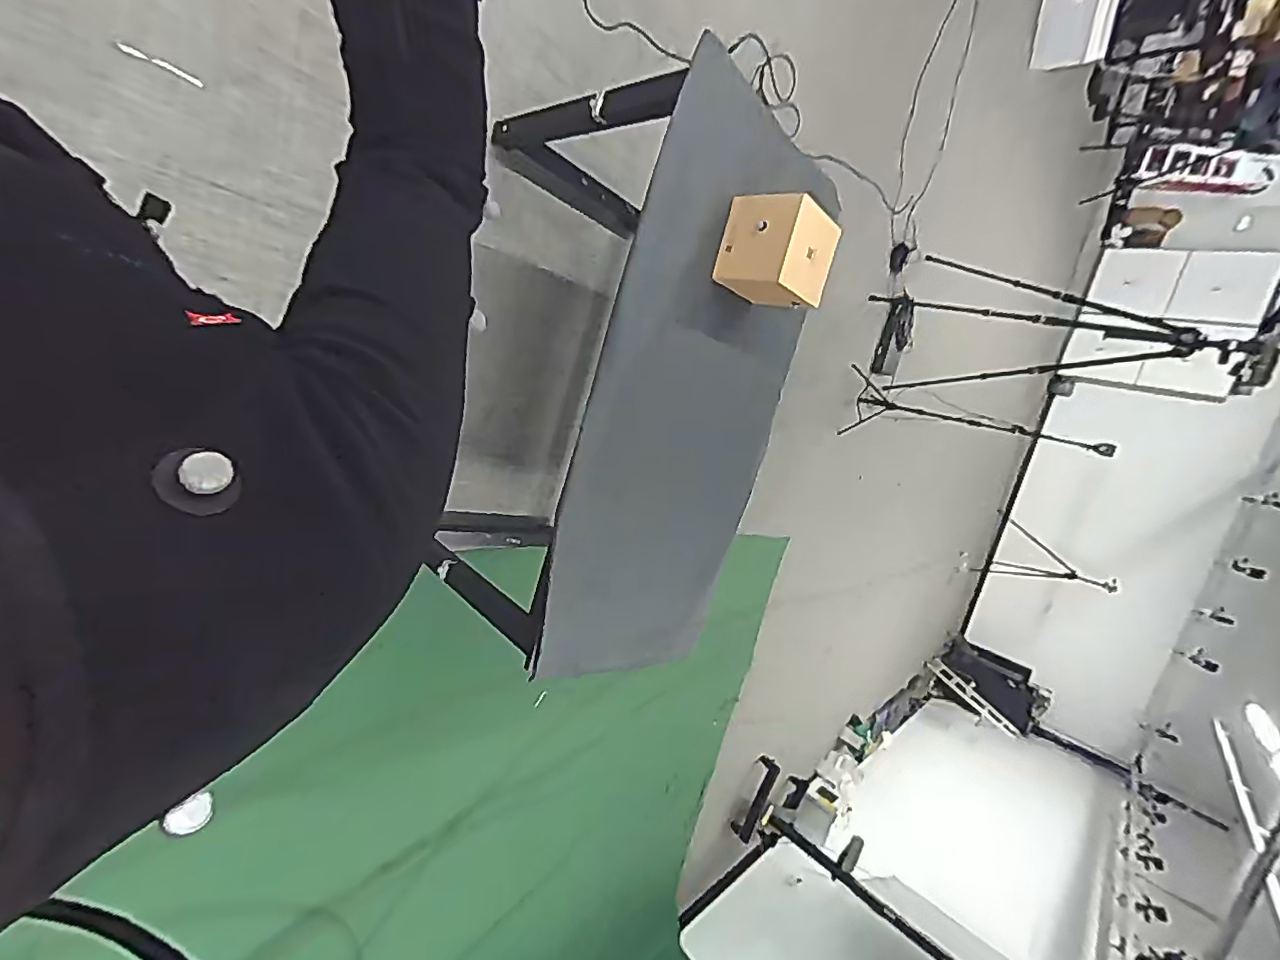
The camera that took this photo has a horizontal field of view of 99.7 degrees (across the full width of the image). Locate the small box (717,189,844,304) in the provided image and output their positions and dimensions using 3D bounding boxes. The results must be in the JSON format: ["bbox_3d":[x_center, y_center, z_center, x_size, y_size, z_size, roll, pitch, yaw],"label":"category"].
[{"bbox_3d":[0.284,-0.473,1.112,0.179,0.176,0.168,4,105,-48],"label":"small box"}]
